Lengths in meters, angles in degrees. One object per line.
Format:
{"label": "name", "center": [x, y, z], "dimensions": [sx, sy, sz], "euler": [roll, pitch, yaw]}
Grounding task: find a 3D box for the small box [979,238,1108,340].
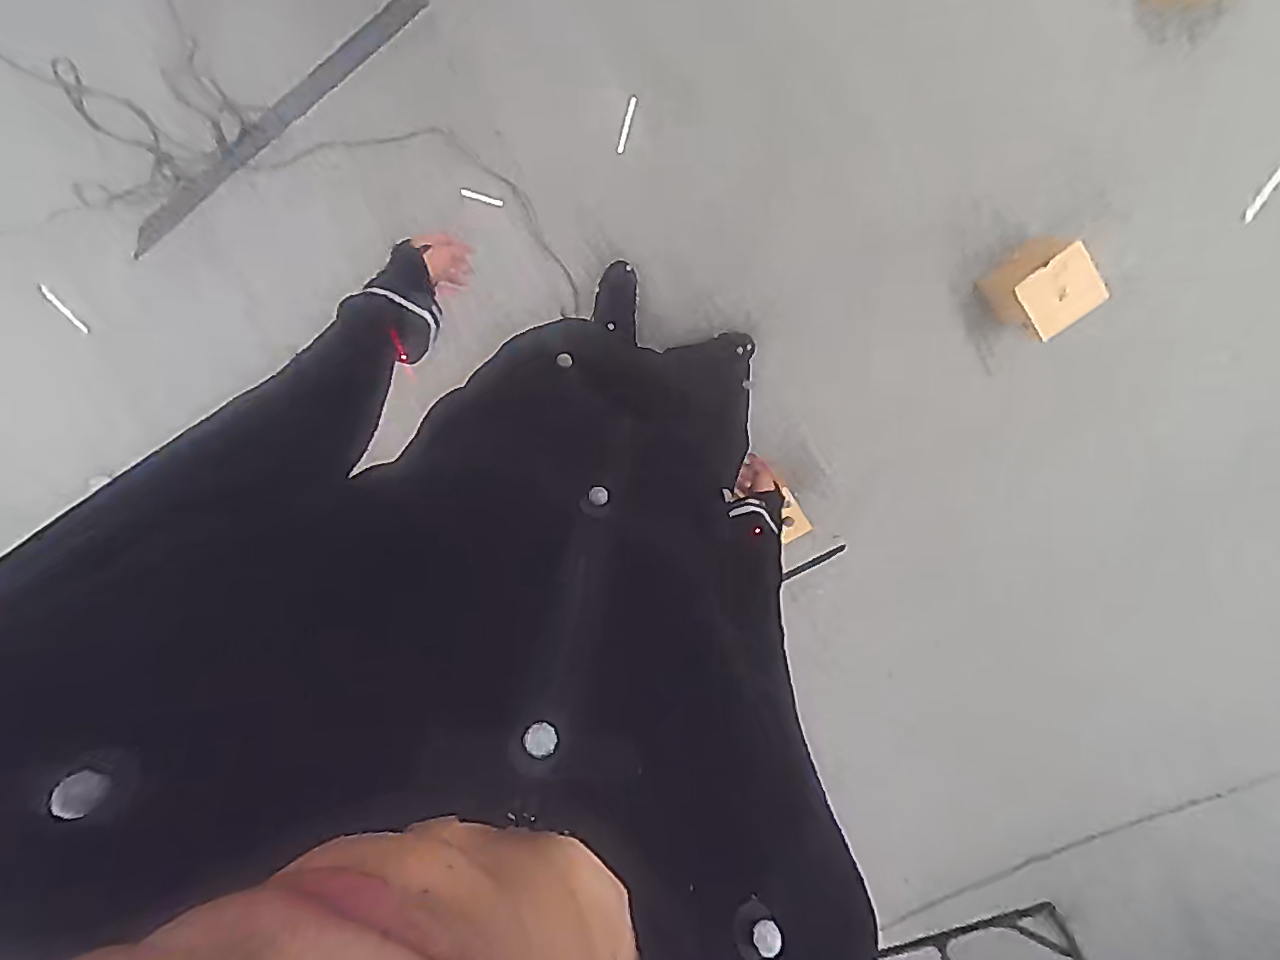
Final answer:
{"label": "small box", "center": [1.009, -0.488, 1.364], "dimensions": [0.168, 0.176, 0.179], "euler": [-39, 109, 18]}
